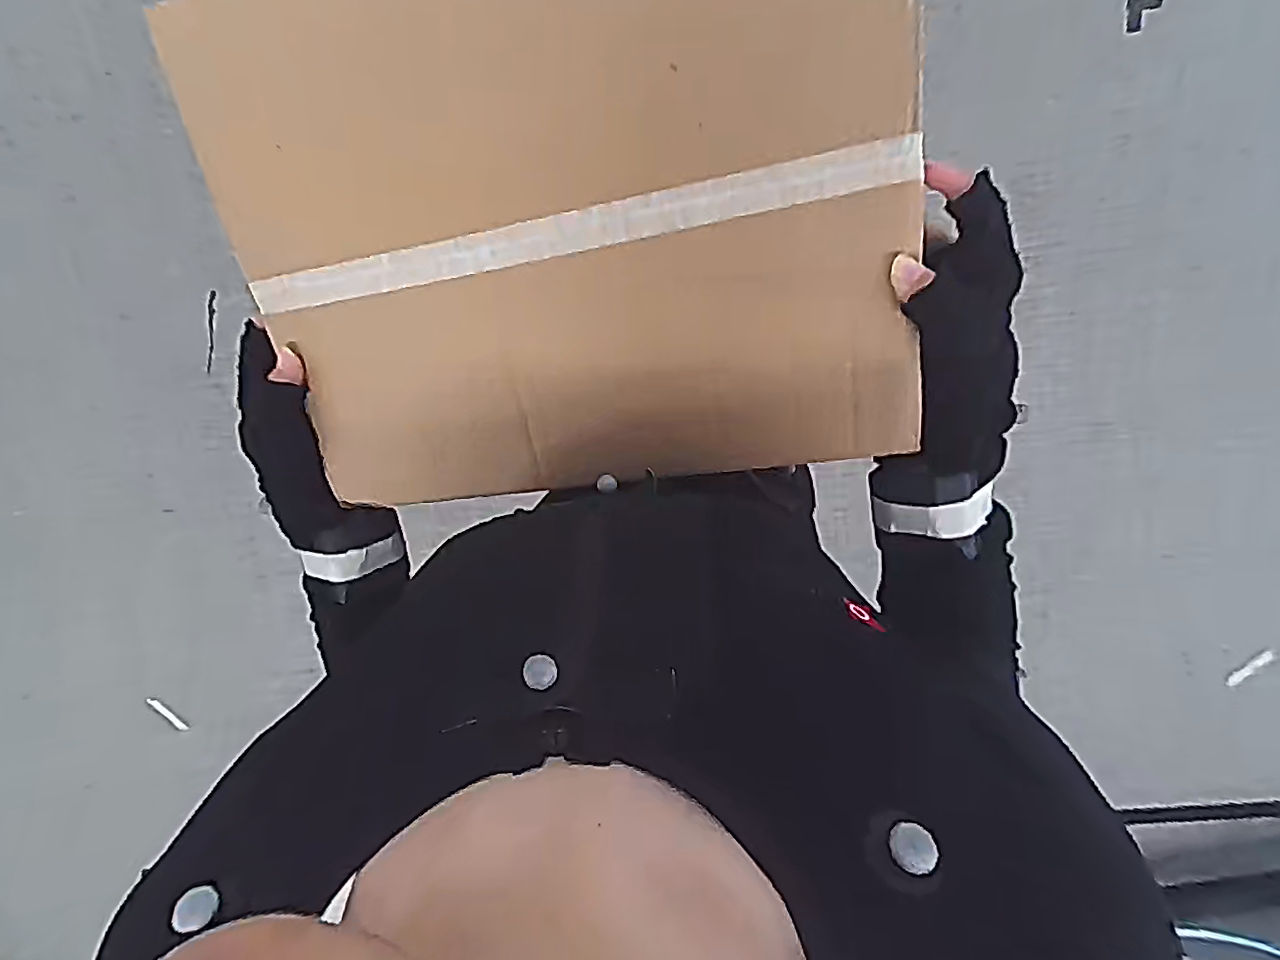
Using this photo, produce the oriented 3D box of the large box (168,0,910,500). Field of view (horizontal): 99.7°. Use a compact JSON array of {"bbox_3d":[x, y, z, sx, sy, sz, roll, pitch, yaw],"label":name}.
[{"bbox_3d":[-0.029,-0.204,0.454,0.408,0.320,0.320,-6,111,13],"label":"large box"}]
